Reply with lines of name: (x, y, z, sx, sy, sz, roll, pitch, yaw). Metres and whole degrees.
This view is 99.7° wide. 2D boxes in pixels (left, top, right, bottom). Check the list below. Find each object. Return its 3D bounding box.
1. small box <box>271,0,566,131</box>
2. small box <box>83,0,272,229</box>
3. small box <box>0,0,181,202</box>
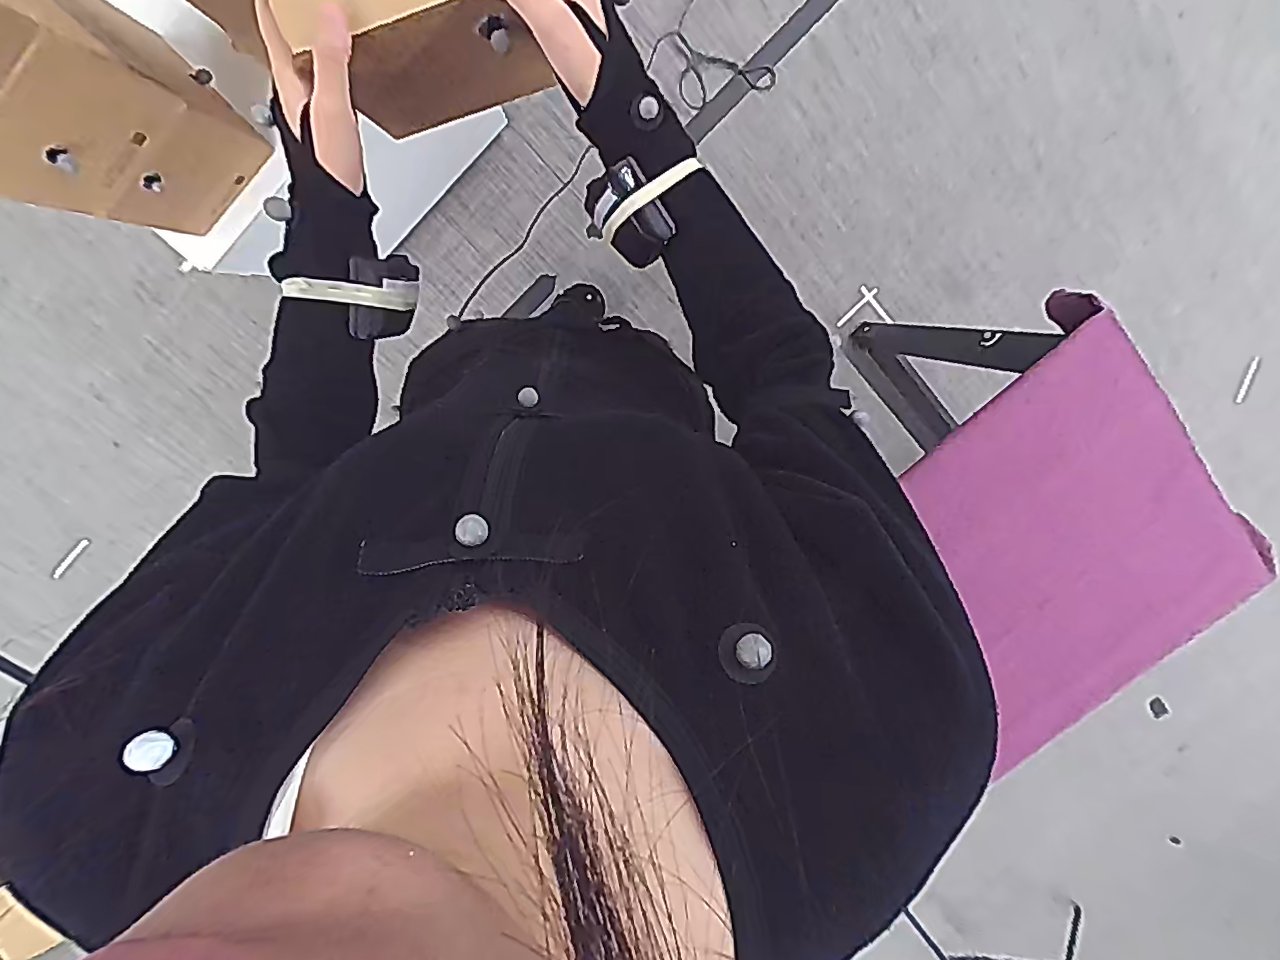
small box: (-0.158, -0.385, 0.385, 0.179, 0.176, 0.168, -16, 106, 4)
small box: (-0.595, -0.426, 0.634, 0.168, 0.176, 0.179, -42, 105, 9)
small box: (-0.579, -0.376, 0.480, 0.168, 0.176, 0.179, -44, 106, 9)
